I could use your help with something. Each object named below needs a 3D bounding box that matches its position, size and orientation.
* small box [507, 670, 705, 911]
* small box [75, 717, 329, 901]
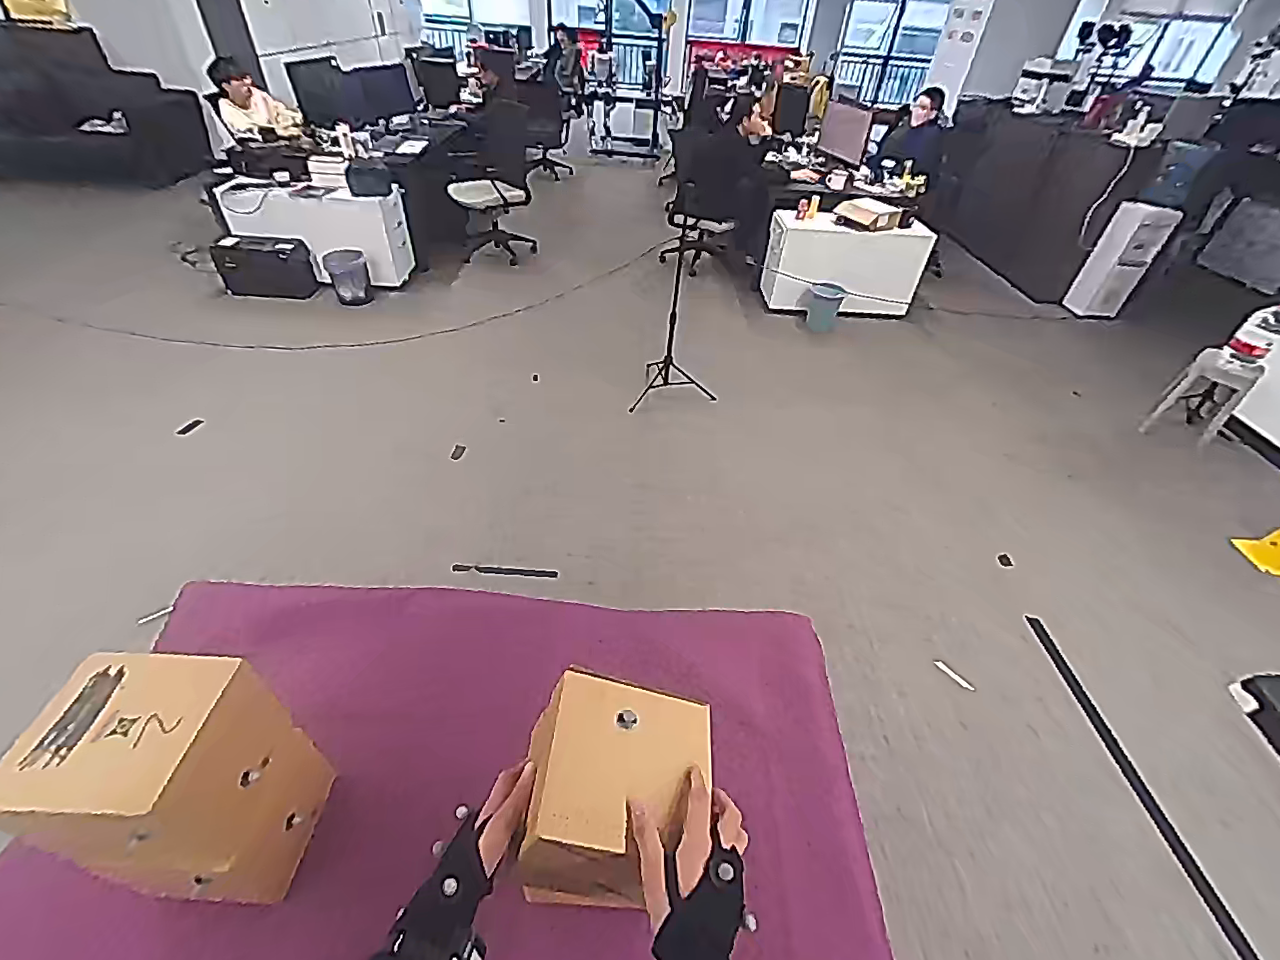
[{"bbox_3d":[-0.037,0.345,0.598,0.179,0.168,0.176,19,39,-10],"label":"small box"},{"bbox_3d":[-0.556,0.442,0.724,0.179,0.176,0.168,5,41,-1],"label":"small box"}]
